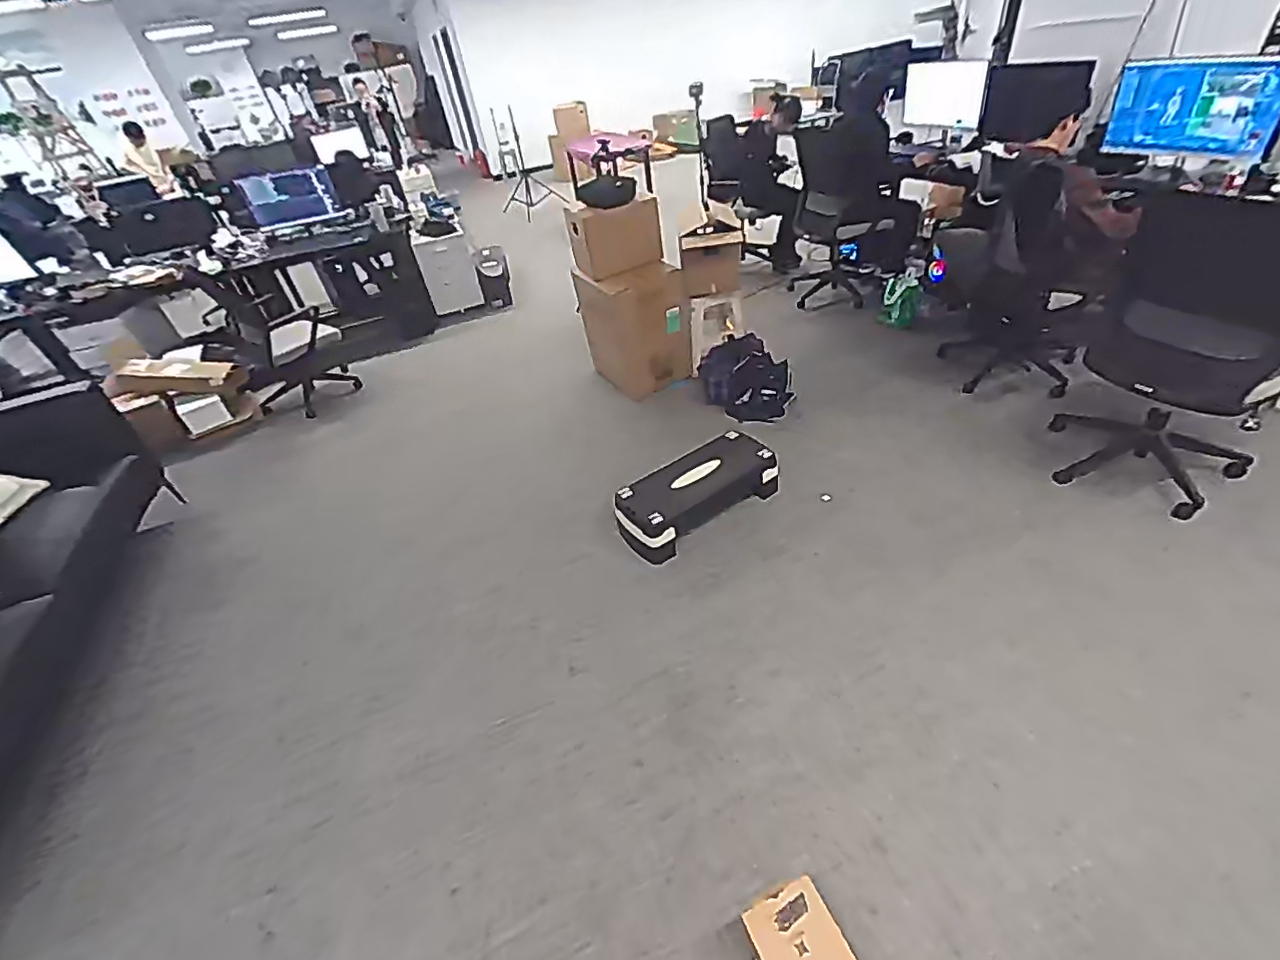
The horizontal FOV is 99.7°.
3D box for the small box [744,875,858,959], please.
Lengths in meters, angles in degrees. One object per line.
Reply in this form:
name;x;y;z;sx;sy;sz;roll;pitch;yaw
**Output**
small box;0.328;0.963;1.104;0.168;0.176;0.179;-22;40;-11
